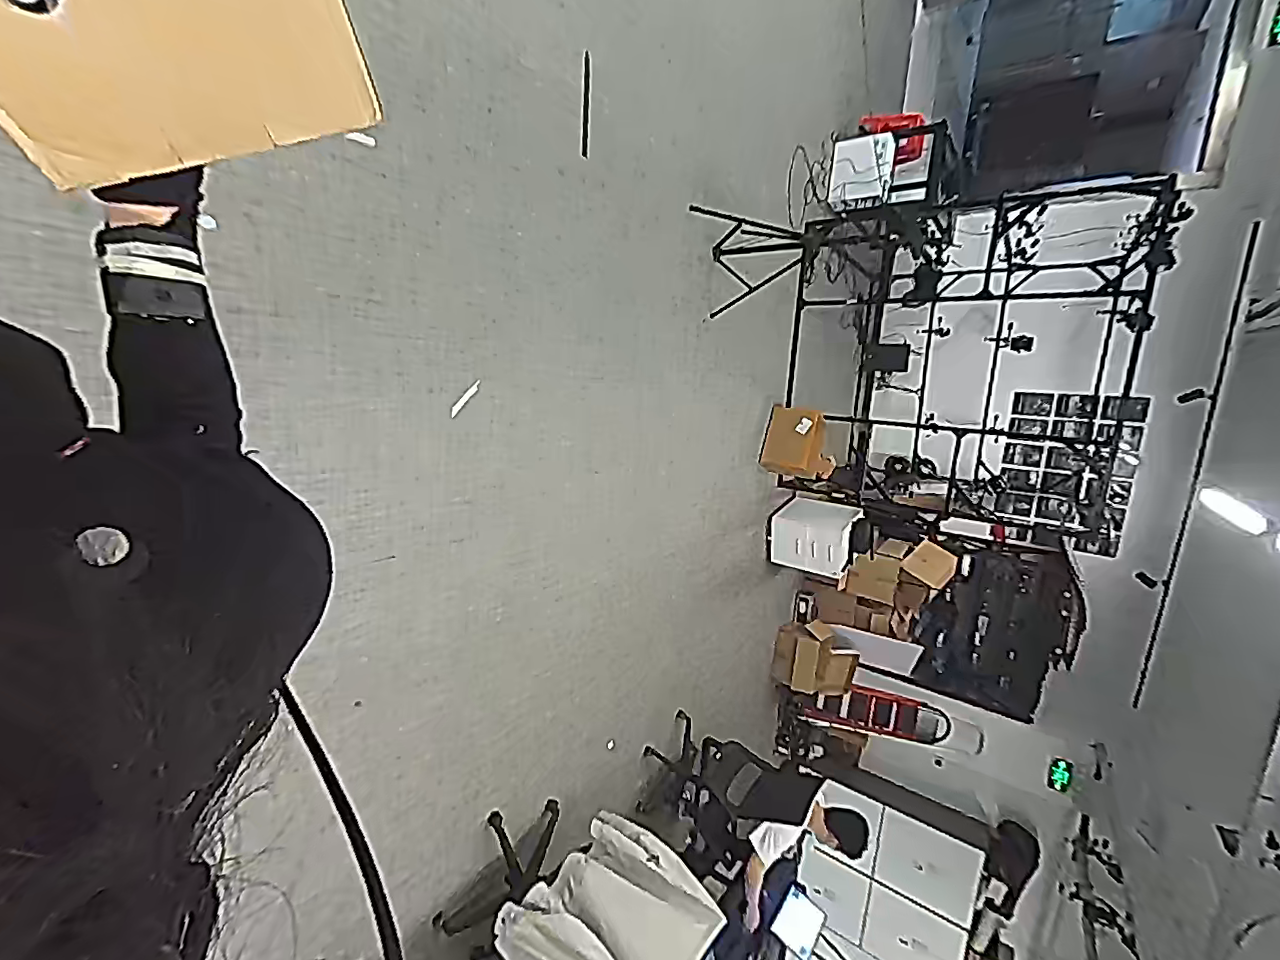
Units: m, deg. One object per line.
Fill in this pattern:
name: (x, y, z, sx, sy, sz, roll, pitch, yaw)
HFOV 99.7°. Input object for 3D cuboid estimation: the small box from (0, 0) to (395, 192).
small box: (-0.248, -0.279, 0.266, 0.168, 0.179, 0.176, -22, 146, -16)
